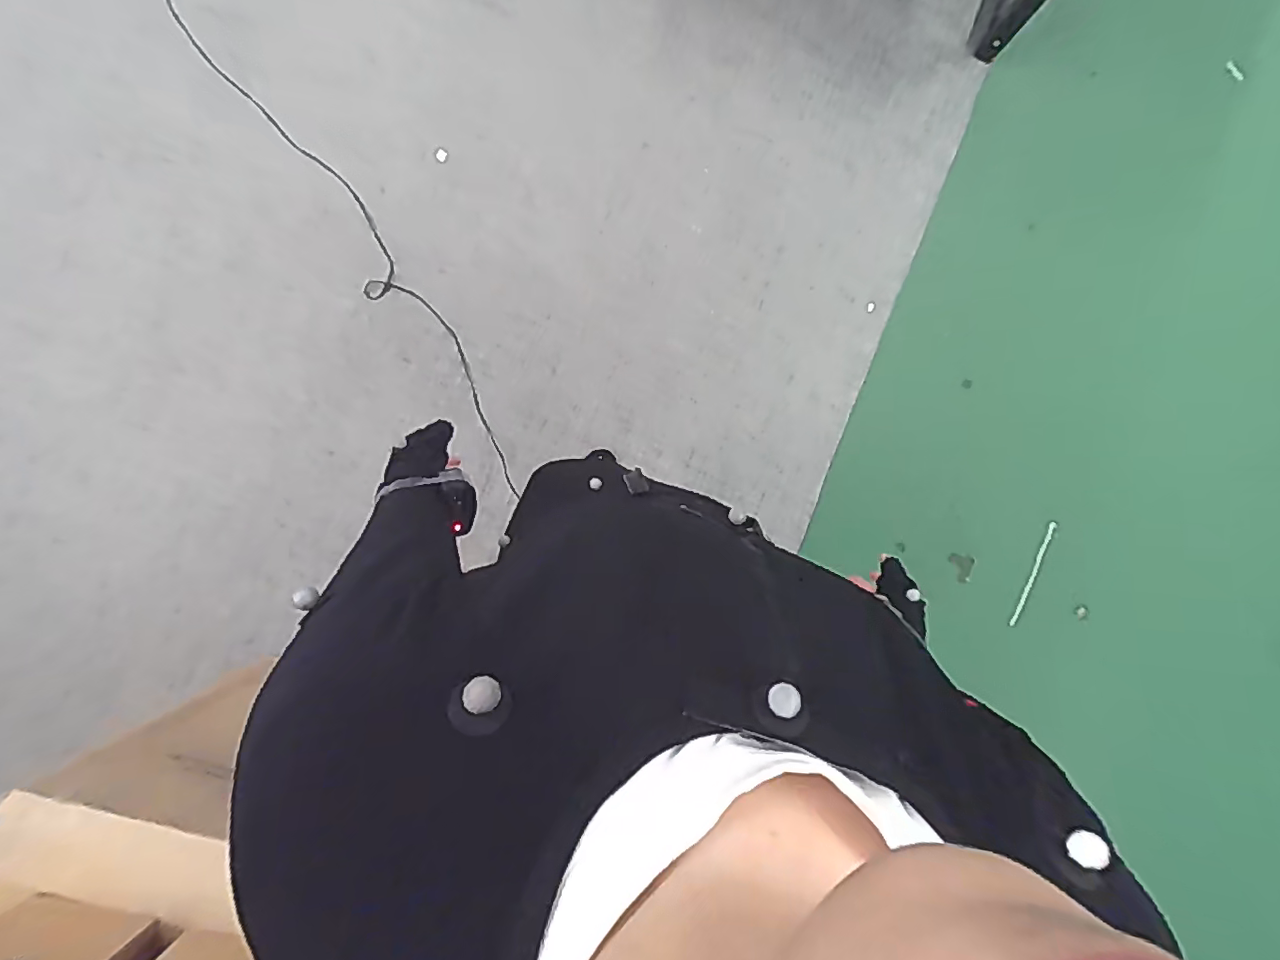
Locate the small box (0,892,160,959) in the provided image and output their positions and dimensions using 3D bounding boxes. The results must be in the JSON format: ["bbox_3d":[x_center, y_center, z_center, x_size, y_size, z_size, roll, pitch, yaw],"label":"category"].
[{"bbox_3d":[-0.770,0.662,0.676,0.179,0.176,0.168,14,81,-2],"label":"small box"}]

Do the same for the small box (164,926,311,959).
[{"bbox_3d":[-0.564,0.721,0.688,0.179,0.176,0.168,16,82,-3],"label":"small box"}]
